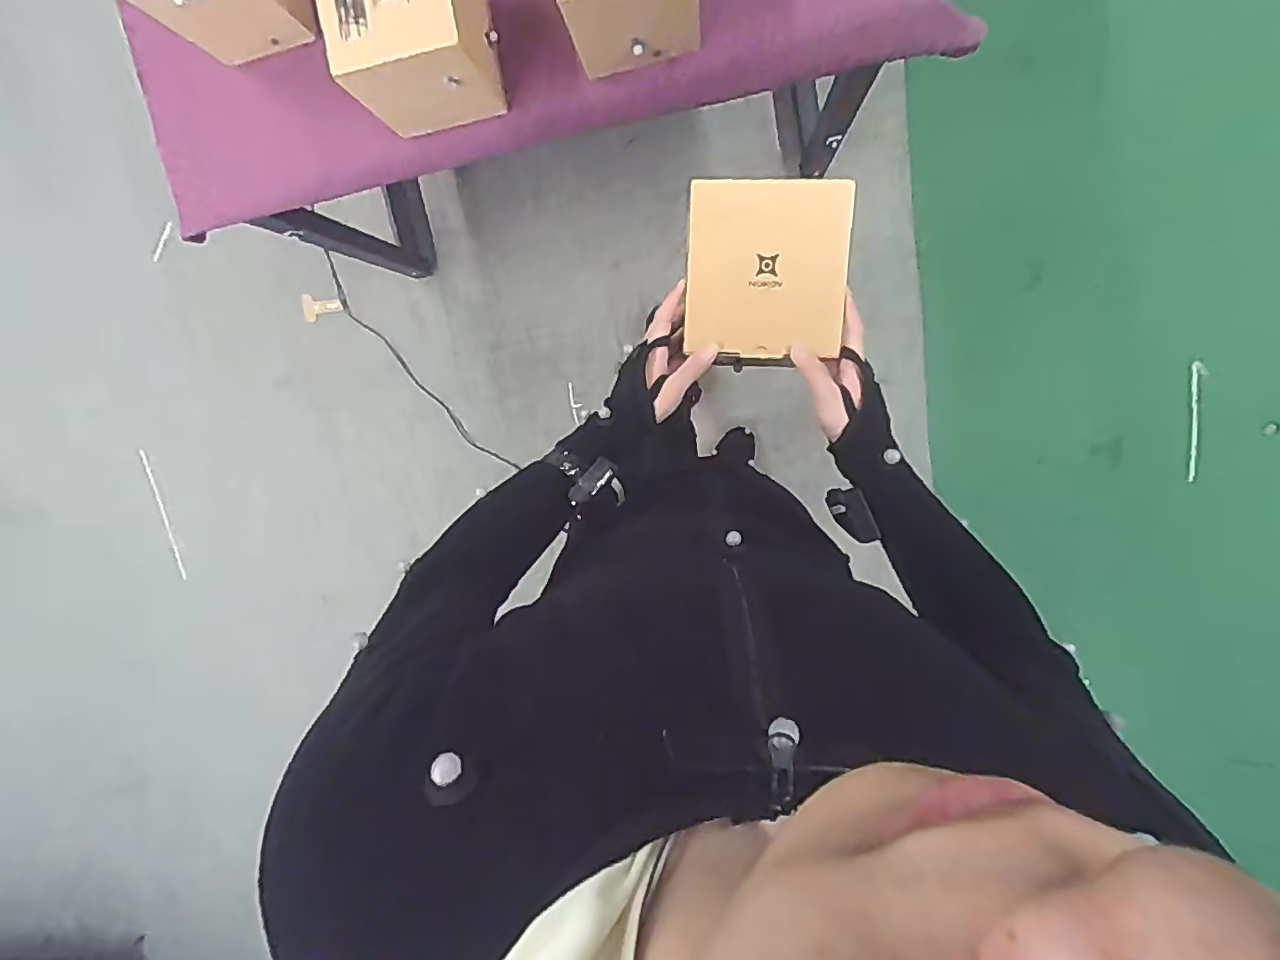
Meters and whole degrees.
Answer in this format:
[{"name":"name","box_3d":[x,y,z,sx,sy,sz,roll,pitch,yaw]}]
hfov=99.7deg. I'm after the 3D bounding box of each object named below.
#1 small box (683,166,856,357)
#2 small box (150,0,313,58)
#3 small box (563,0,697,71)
[{"name":"small box","box_3d":[0.136,-0.241,0.632,0.168,0.176,0.179,2,100,4]},{"name":"small box","box_3d":[-0.597,-0.741,0.747,0.168,0.176,0.179,-8,99,10]},{"name":"small box","box_3d":[-0.021,-0.673,0.684,0.168,0.176,0.179,-8,99,9]}]
